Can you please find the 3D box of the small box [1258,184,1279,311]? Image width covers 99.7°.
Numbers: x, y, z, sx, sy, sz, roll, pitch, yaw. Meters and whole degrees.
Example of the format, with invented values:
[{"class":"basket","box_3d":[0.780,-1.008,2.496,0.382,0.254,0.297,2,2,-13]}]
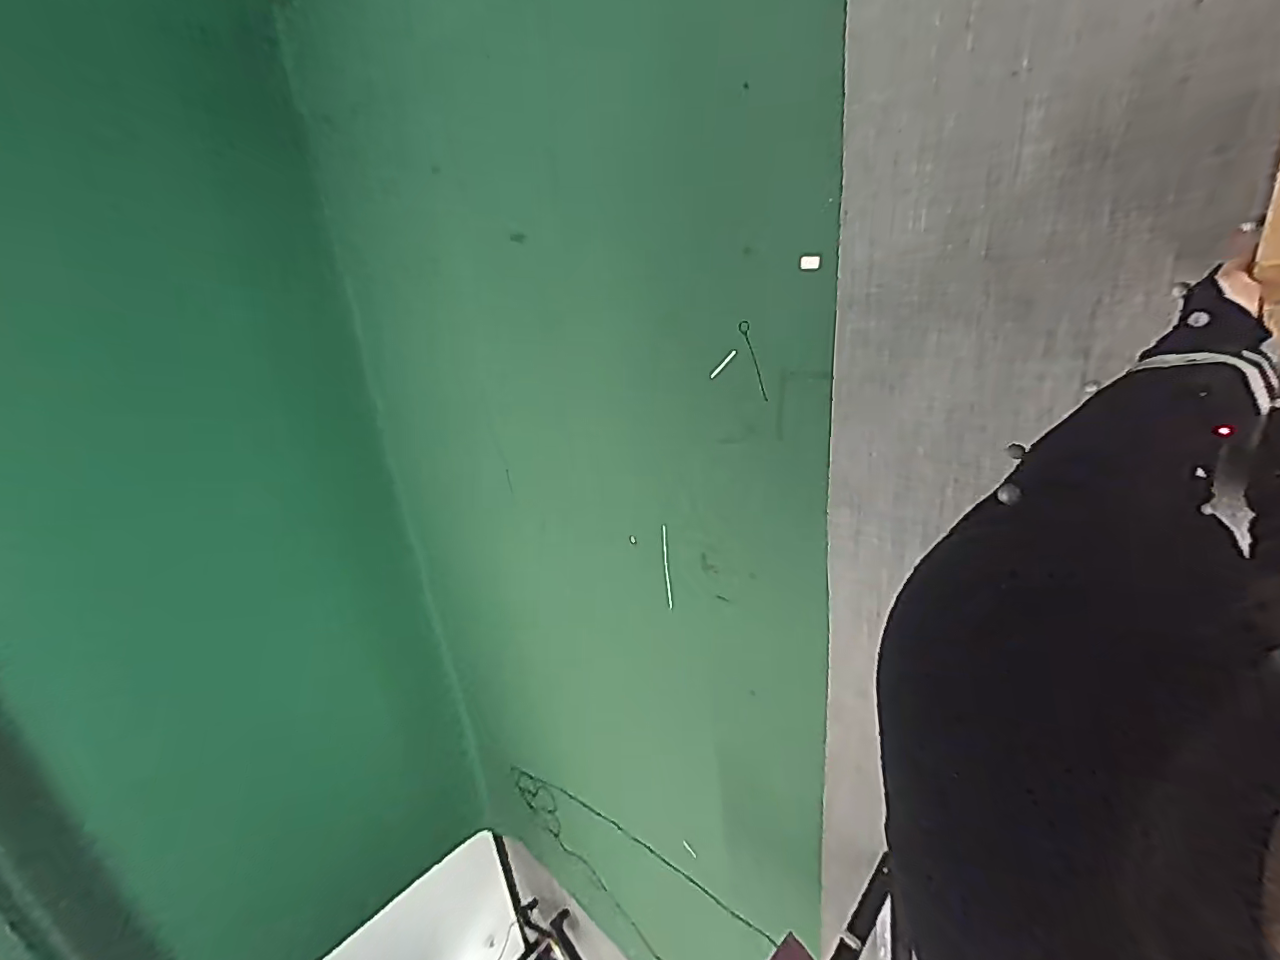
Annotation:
[{"class":"small box","box_3d":[0.614,-0.238,0.413,0.168,0.176,0.179,13,101,46]}]
